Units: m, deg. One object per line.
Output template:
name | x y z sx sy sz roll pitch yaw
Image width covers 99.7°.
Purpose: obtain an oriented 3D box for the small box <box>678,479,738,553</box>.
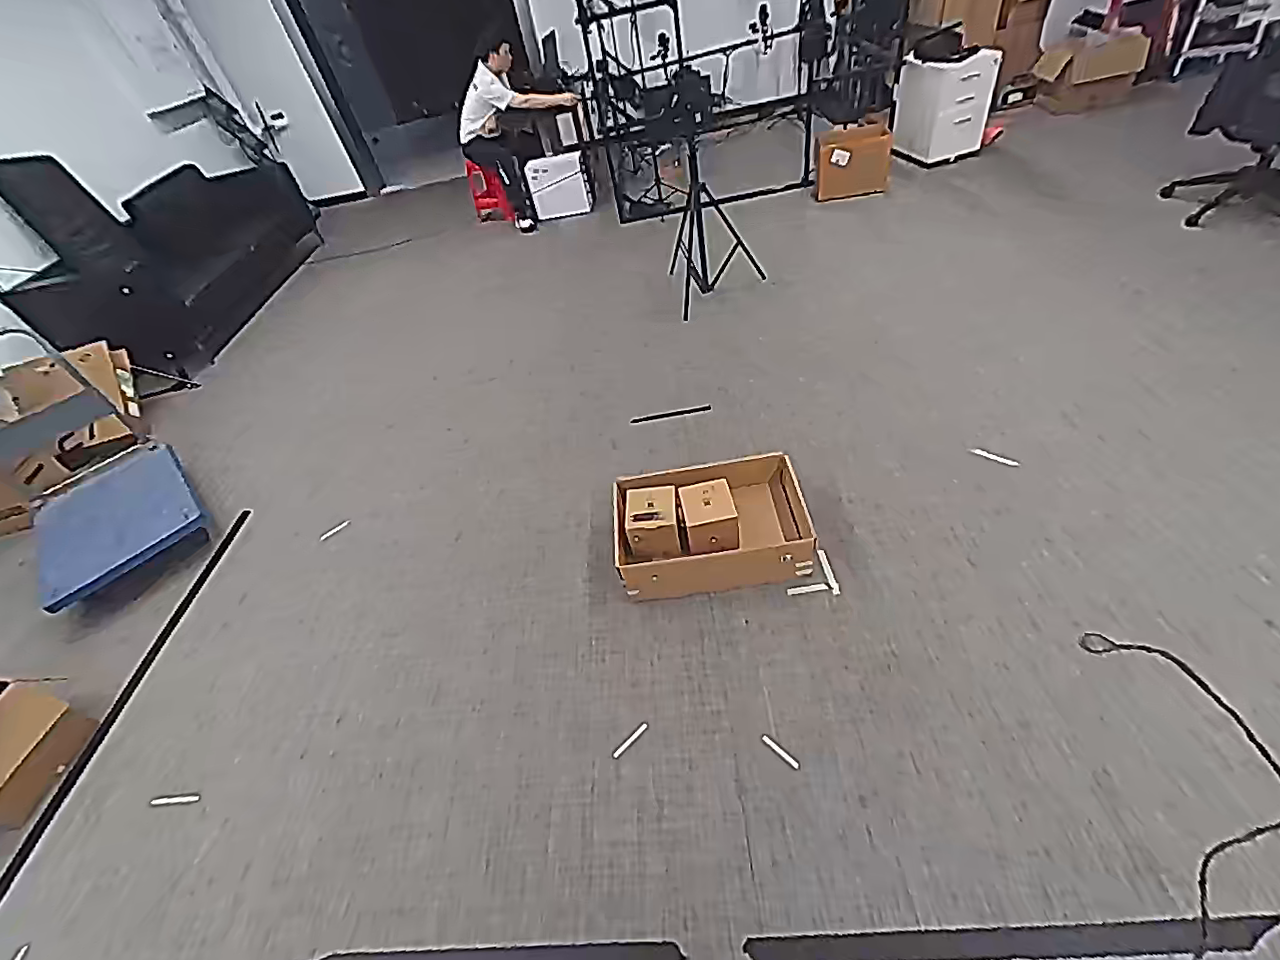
small box | 0.229 0.128 1.807 0.168 0.176 0.179 -12 44 2
